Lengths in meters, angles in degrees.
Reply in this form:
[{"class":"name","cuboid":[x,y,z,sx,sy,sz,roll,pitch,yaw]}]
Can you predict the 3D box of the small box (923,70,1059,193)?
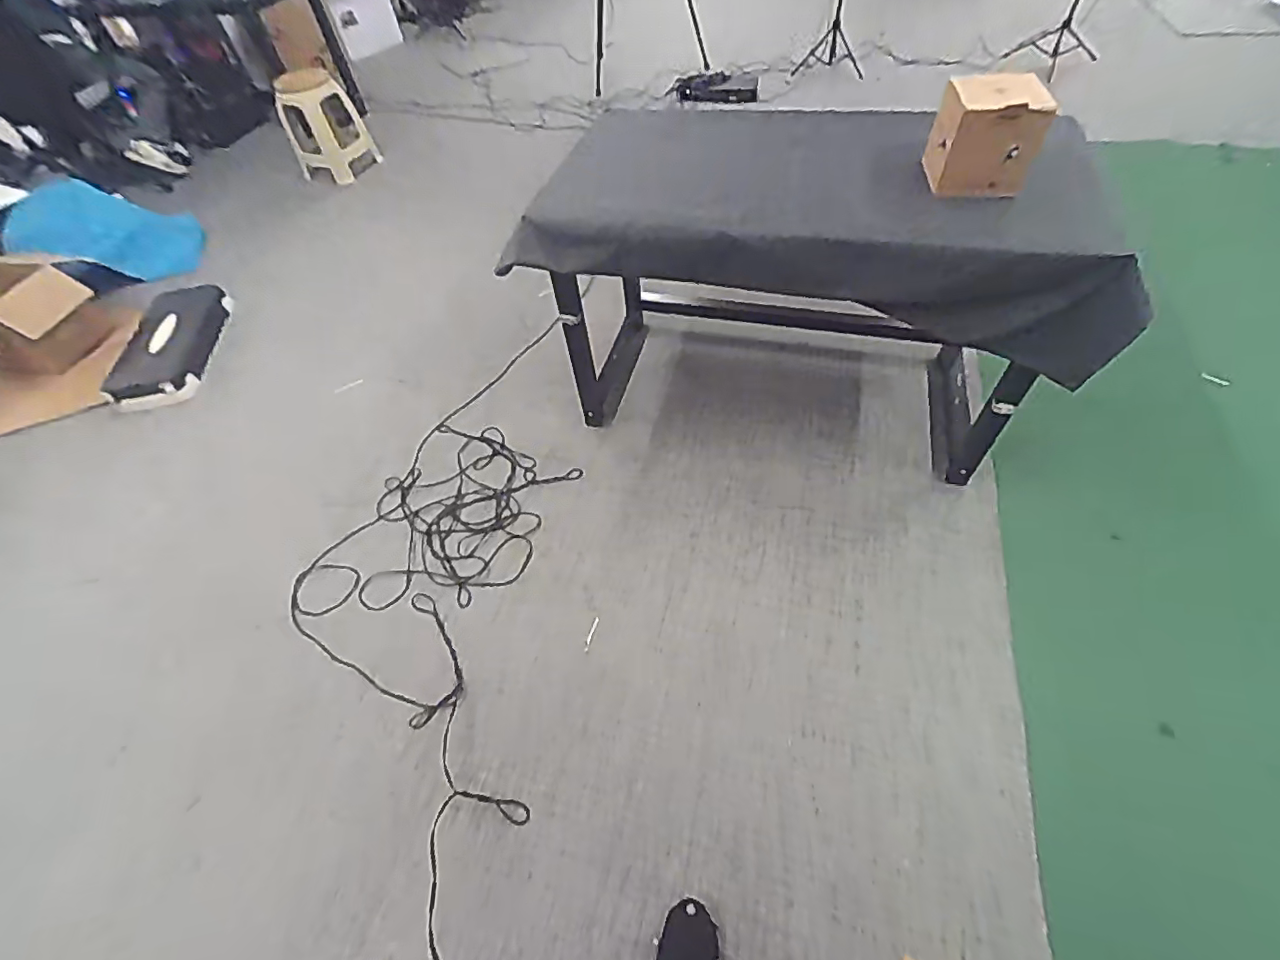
[{"class":"small box","cuboid":[0.707,-0.712,1.112,0.168,0.176,0.179,5,53,8]}]
